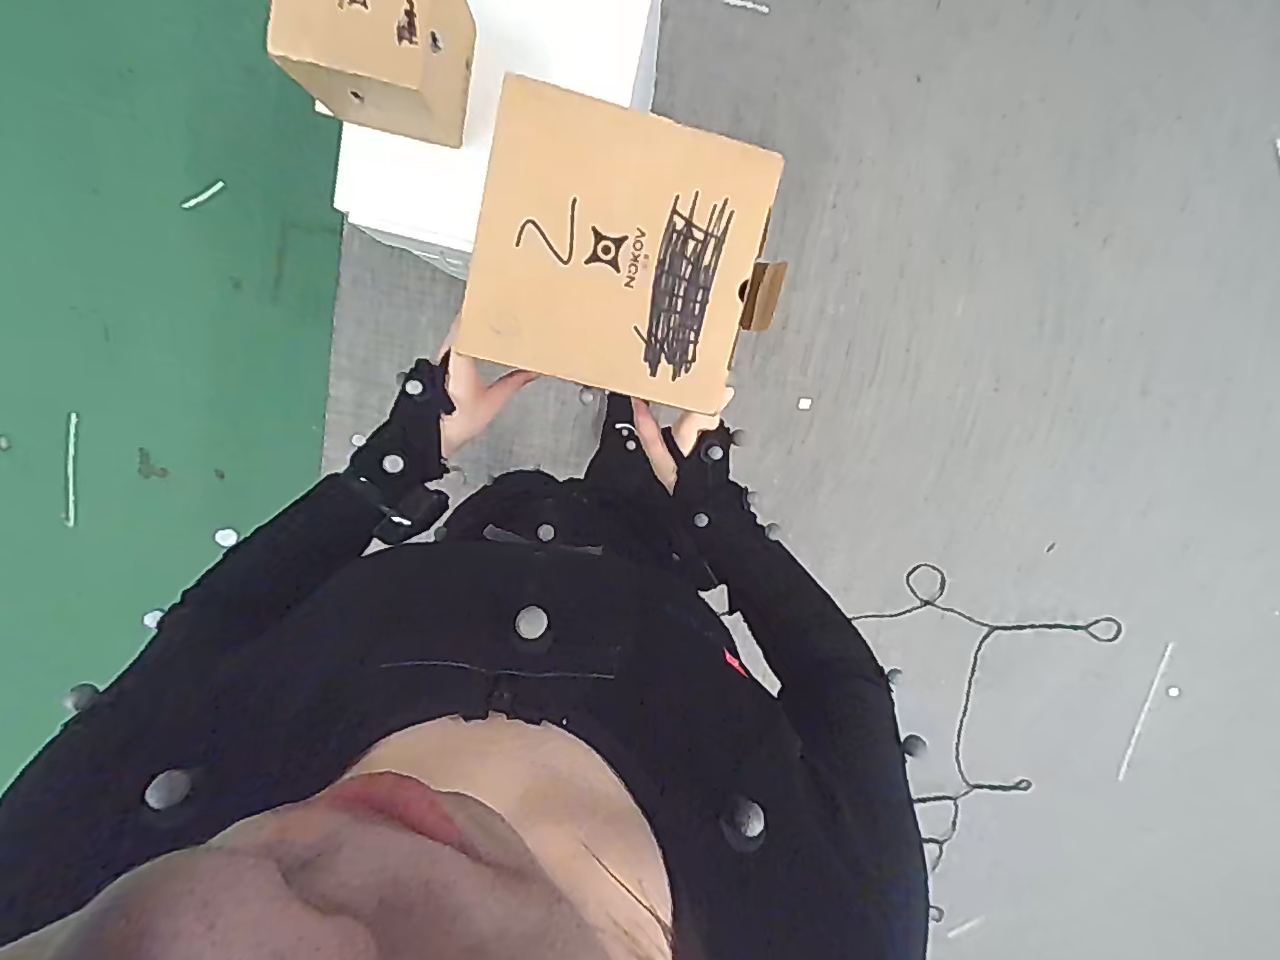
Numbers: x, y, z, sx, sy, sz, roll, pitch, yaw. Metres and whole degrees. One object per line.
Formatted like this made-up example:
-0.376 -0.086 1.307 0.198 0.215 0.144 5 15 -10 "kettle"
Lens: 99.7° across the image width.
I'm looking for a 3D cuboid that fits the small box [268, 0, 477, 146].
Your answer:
-0.326 -0.560 0.689 0.179 0.176 0.168 12 100 -4 "small box"
